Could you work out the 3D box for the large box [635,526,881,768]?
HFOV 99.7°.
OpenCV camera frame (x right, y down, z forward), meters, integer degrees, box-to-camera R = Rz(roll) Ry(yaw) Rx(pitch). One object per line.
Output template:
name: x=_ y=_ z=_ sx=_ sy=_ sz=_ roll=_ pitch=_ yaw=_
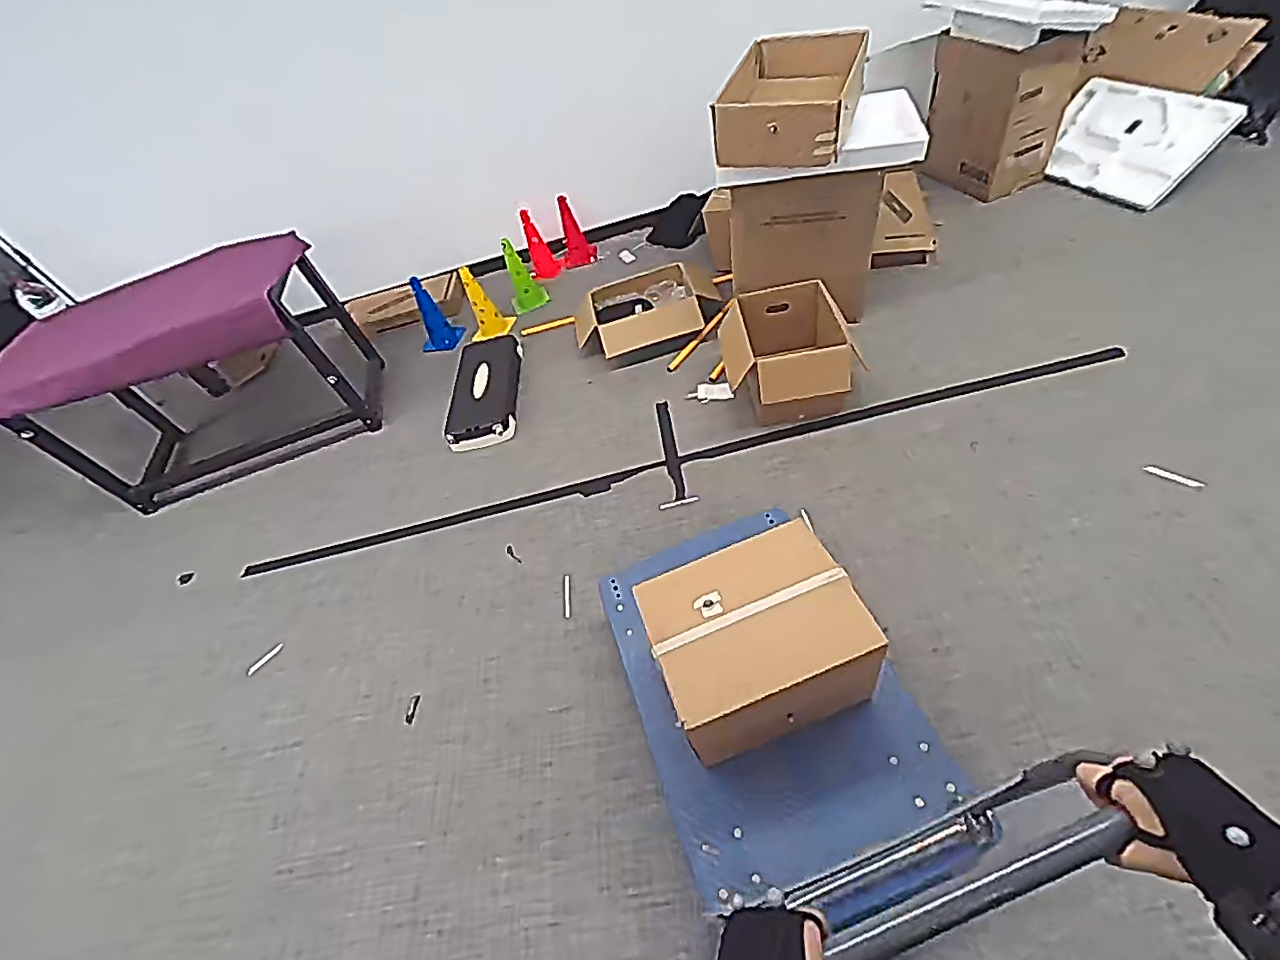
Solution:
large box: x=0.252 y=0.371 z=1.193 sx=0.408 sy=0.320 sz=0.320 roll=-23 pitch=48 yaw=-2
